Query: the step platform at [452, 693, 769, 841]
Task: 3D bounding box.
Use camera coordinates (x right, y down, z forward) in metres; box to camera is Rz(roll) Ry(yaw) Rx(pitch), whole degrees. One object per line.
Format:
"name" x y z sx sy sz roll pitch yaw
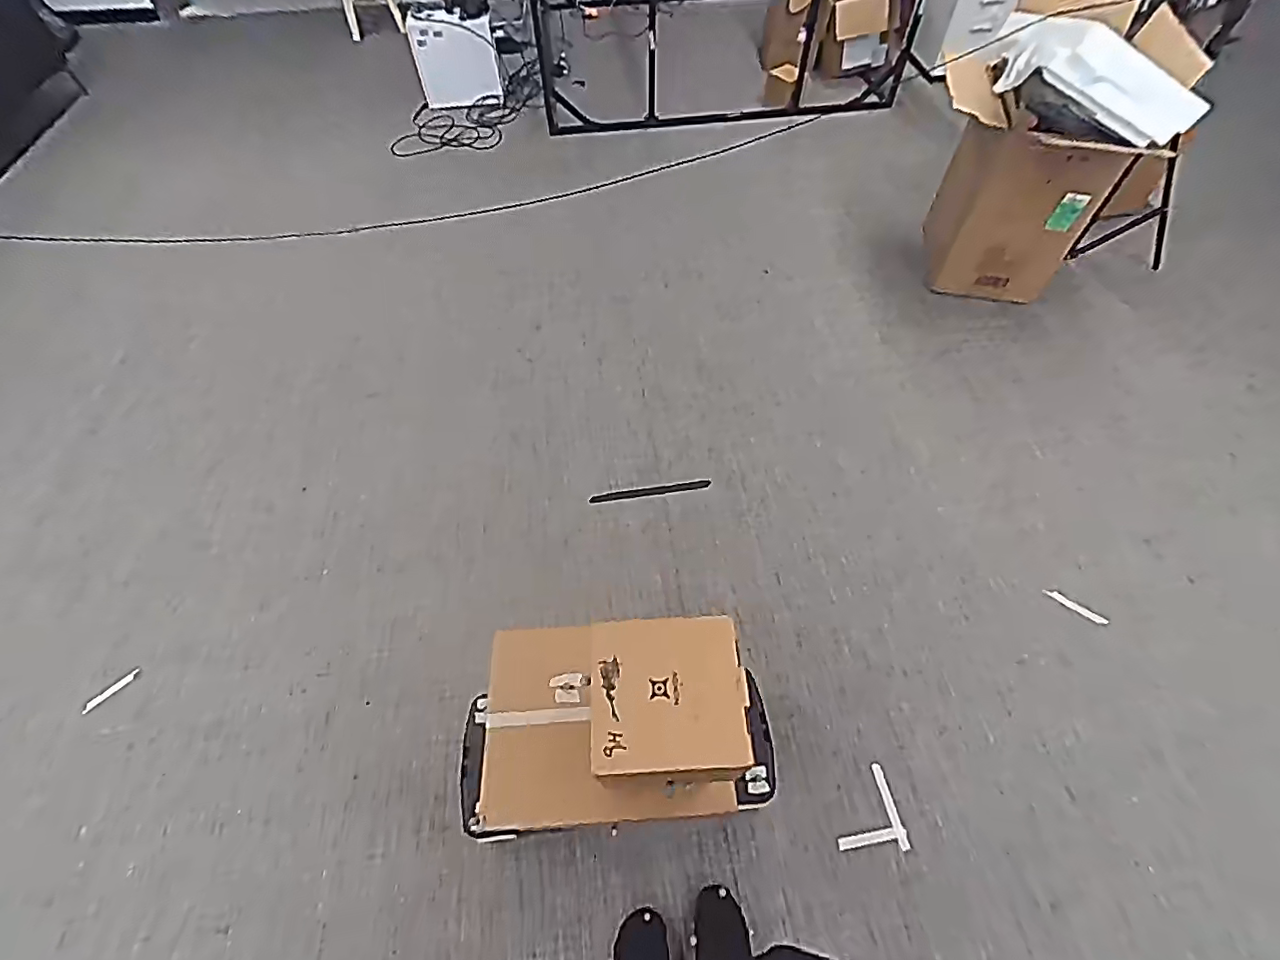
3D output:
"step platform" -0.061 0.633 1.217 0.684 0.204 0.286 -2 56 1

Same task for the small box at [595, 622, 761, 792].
"small box" 0.036 0.284 0.670 0.179 0.176 0.168 -2 55 -1

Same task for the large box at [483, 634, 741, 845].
"large box" -0.047 0.488 1.027 0.408 0.320 0.320 -5 55 0
